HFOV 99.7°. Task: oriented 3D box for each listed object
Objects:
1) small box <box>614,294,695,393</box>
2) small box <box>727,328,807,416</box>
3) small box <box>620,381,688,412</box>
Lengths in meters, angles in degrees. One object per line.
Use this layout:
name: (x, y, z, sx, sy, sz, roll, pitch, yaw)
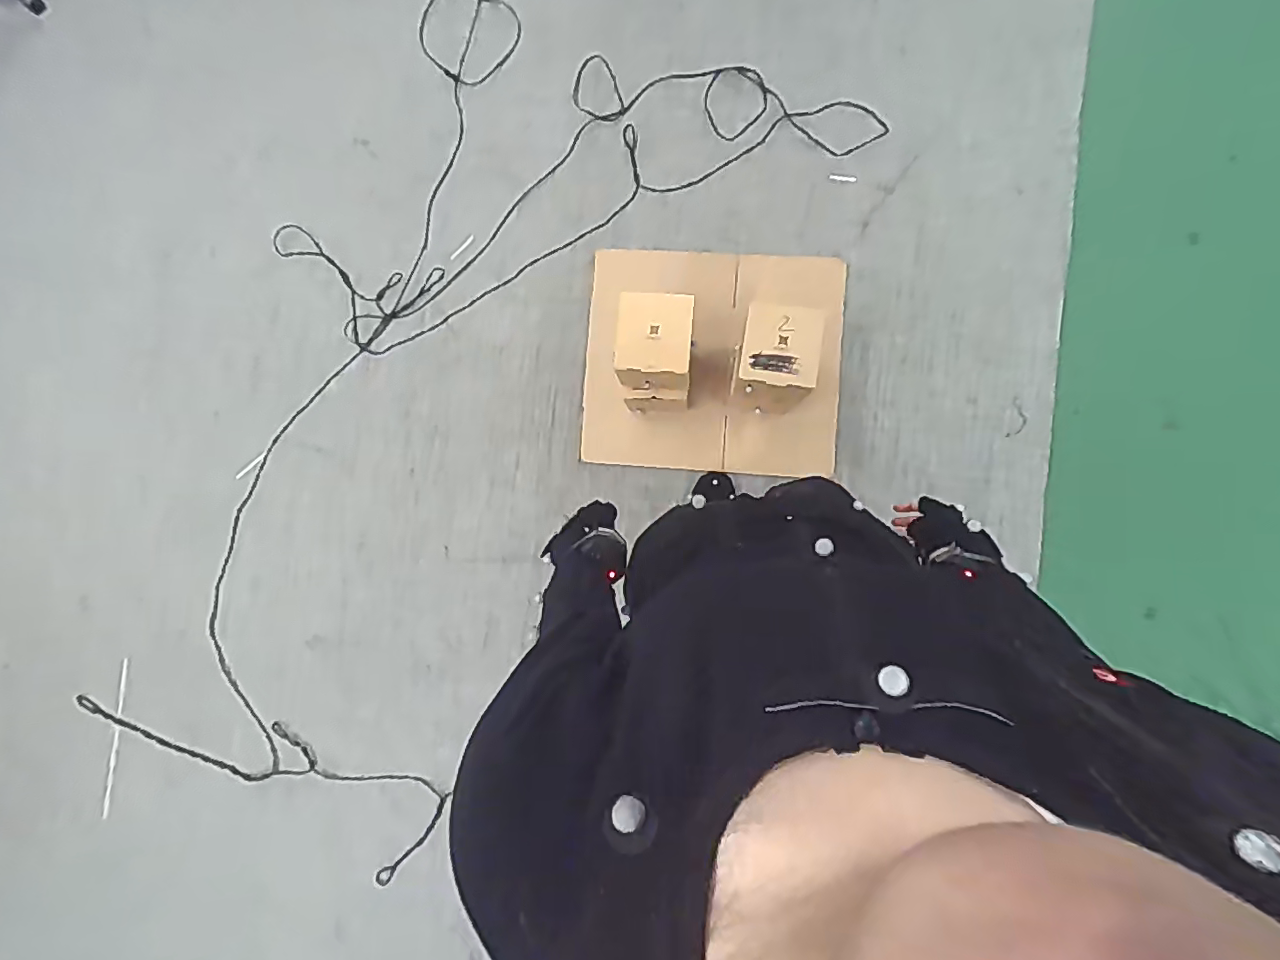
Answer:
small box: (0.036, -0.312, 1.256, 0.168, 0.176, 0.179, 5, 87, 5)
small box: (0.321, -0.272, 1.396, 0.168, 0.176, 0.179, 9, 89, 6)
small box: (0.043, -0.276, 1.417, 0.168, 0.176, 0.179, 2, 87, 5)
